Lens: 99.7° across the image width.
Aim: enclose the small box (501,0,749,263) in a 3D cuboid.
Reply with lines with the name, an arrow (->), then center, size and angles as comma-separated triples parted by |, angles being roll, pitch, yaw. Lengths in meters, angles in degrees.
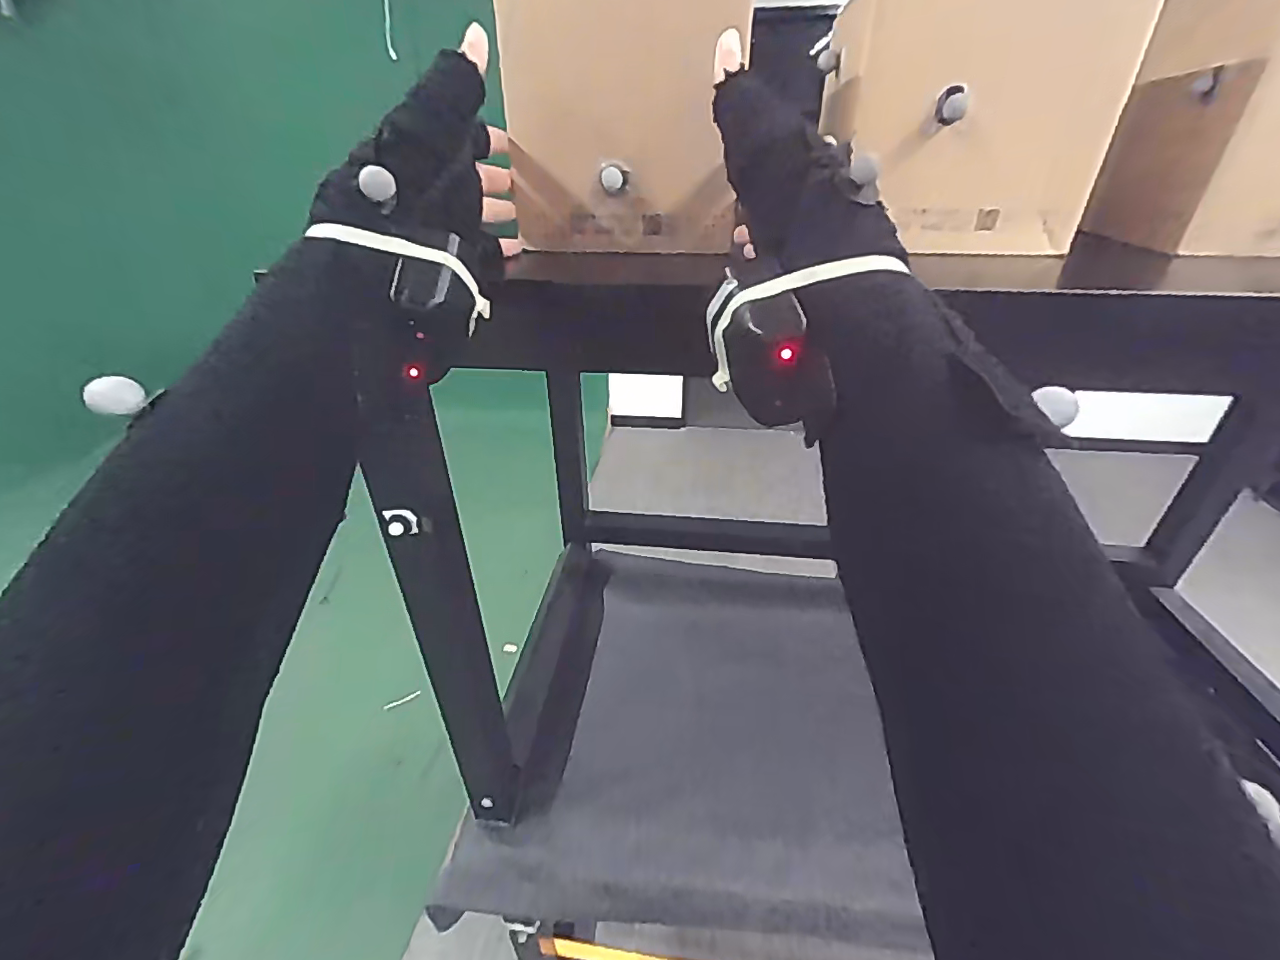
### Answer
small box -> -0.003, -0.289, 0.453 | 0.168, 0.176, 0.179 | 3, 33, 6
